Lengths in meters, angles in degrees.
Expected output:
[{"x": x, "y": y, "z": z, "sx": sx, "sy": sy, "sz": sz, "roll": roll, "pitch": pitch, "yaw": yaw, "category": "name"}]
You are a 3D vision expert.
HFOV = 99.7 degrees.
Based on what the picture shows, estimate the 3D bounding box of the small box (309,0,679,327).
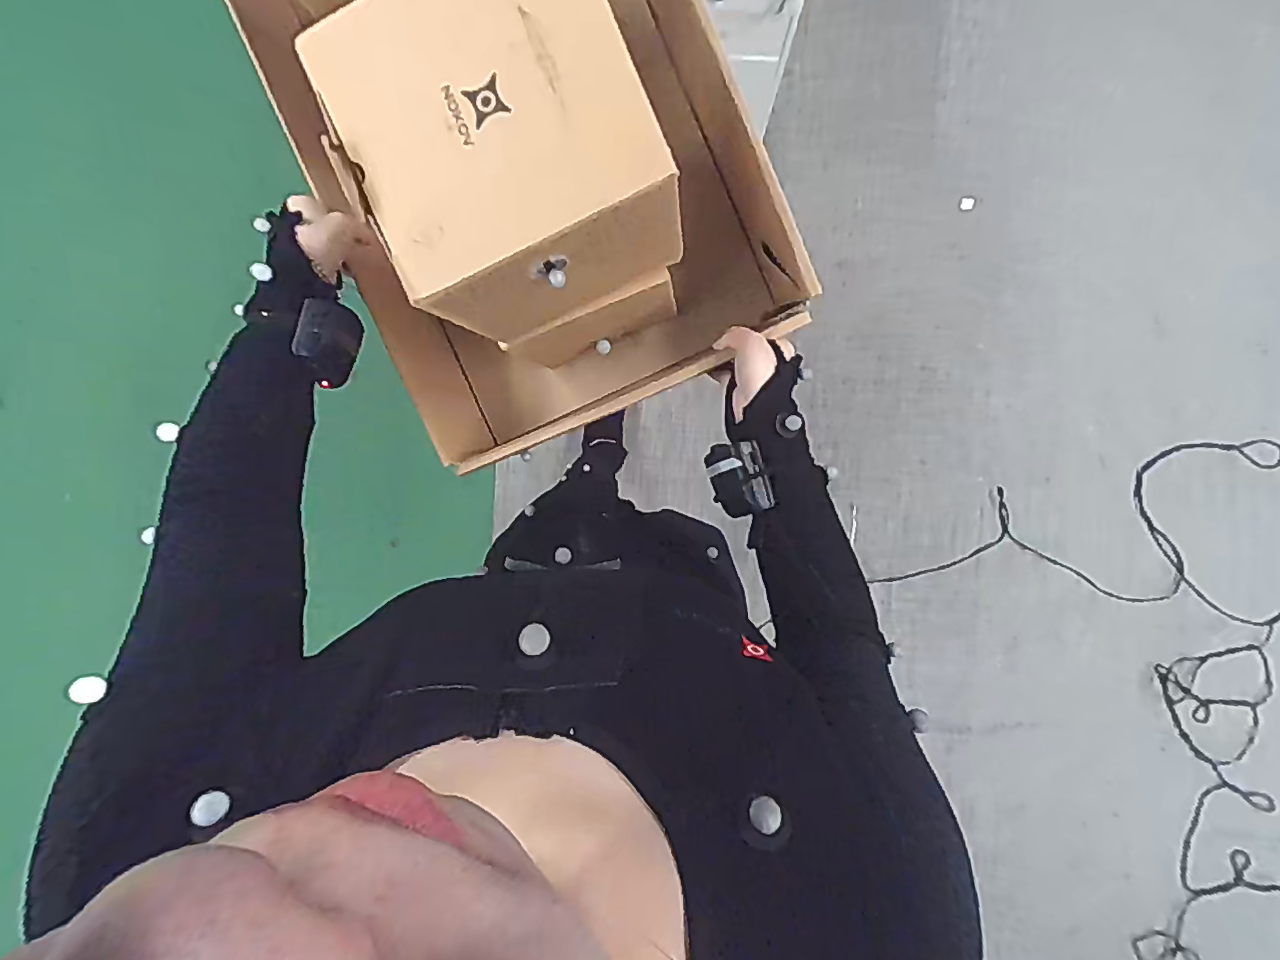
[{"x": -0.079, "y": -0.227, "z": 0.389, "sx": 0.179, "sy": 0.176, "sz": 0.168, "roll": -23, "pitch": 95, "yaw": 7, "category": "small box"}]
